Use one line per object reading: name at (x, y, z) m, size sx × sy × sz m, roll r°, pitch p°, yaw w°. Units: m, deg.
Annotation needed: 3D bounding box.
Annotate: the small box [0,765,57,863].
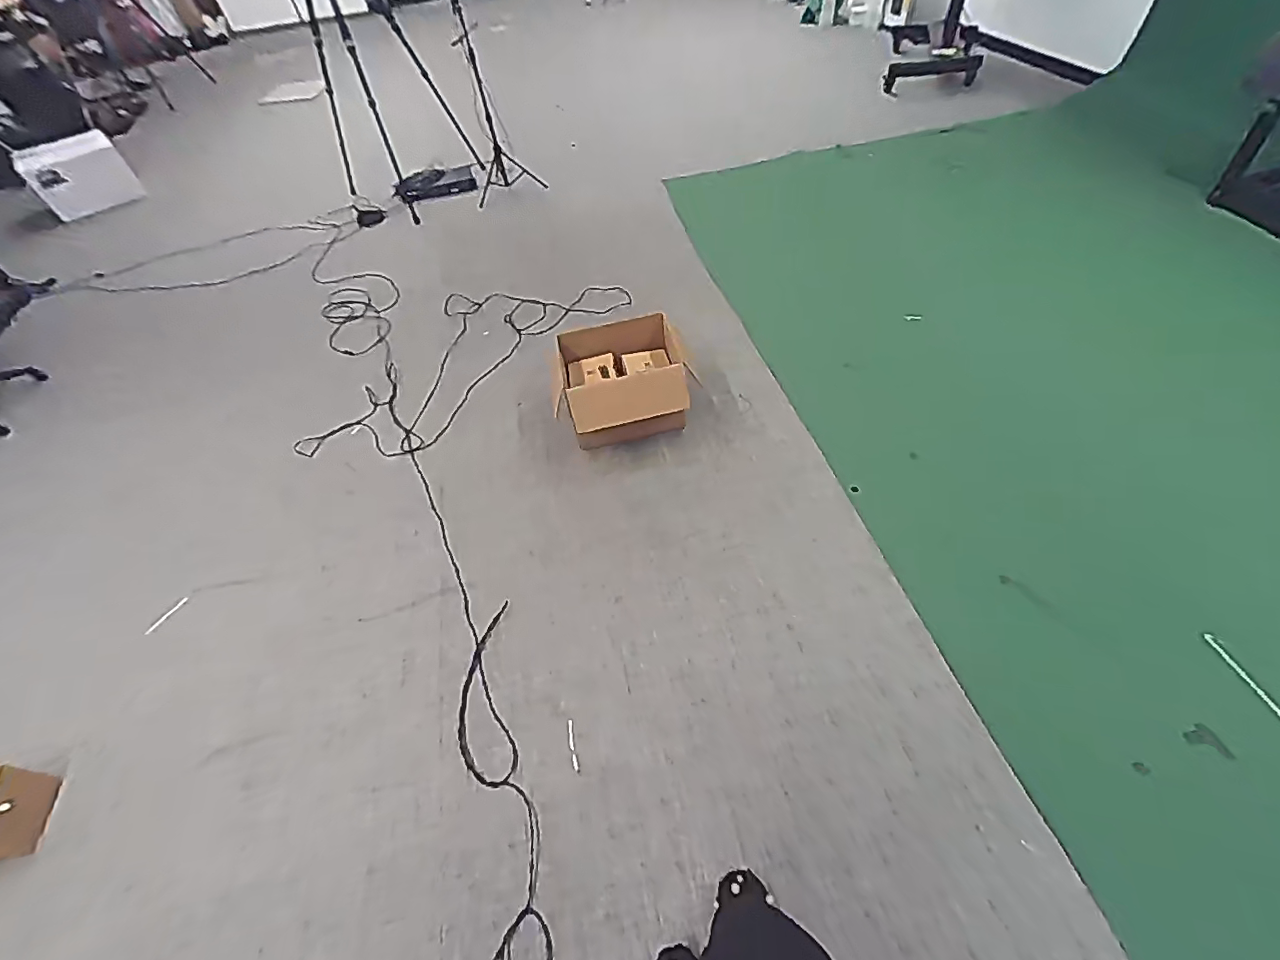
small box at (-1.590, 0.820, 1.305) m, size 0.168 × 0.176 × 0.179 m, roll -14°, pitch 52°, yaw -5°
